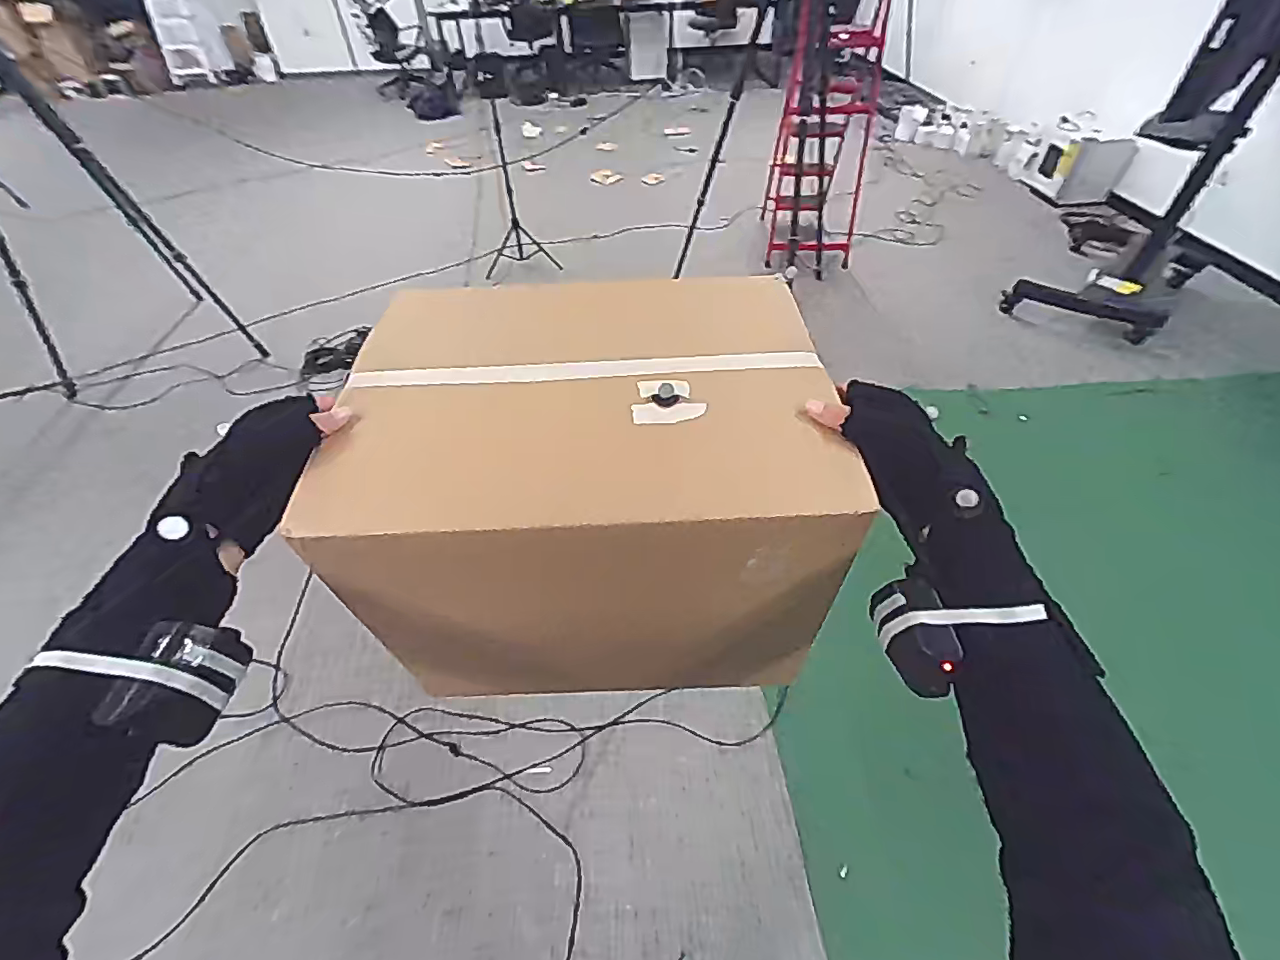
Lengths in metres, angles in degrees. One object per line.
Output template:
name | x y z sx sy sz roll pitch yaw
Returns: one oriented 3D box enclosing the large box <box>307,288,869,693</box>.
large box | -0.039 0.016 0.584 0.408 0.320 0.320 -2 50 0
